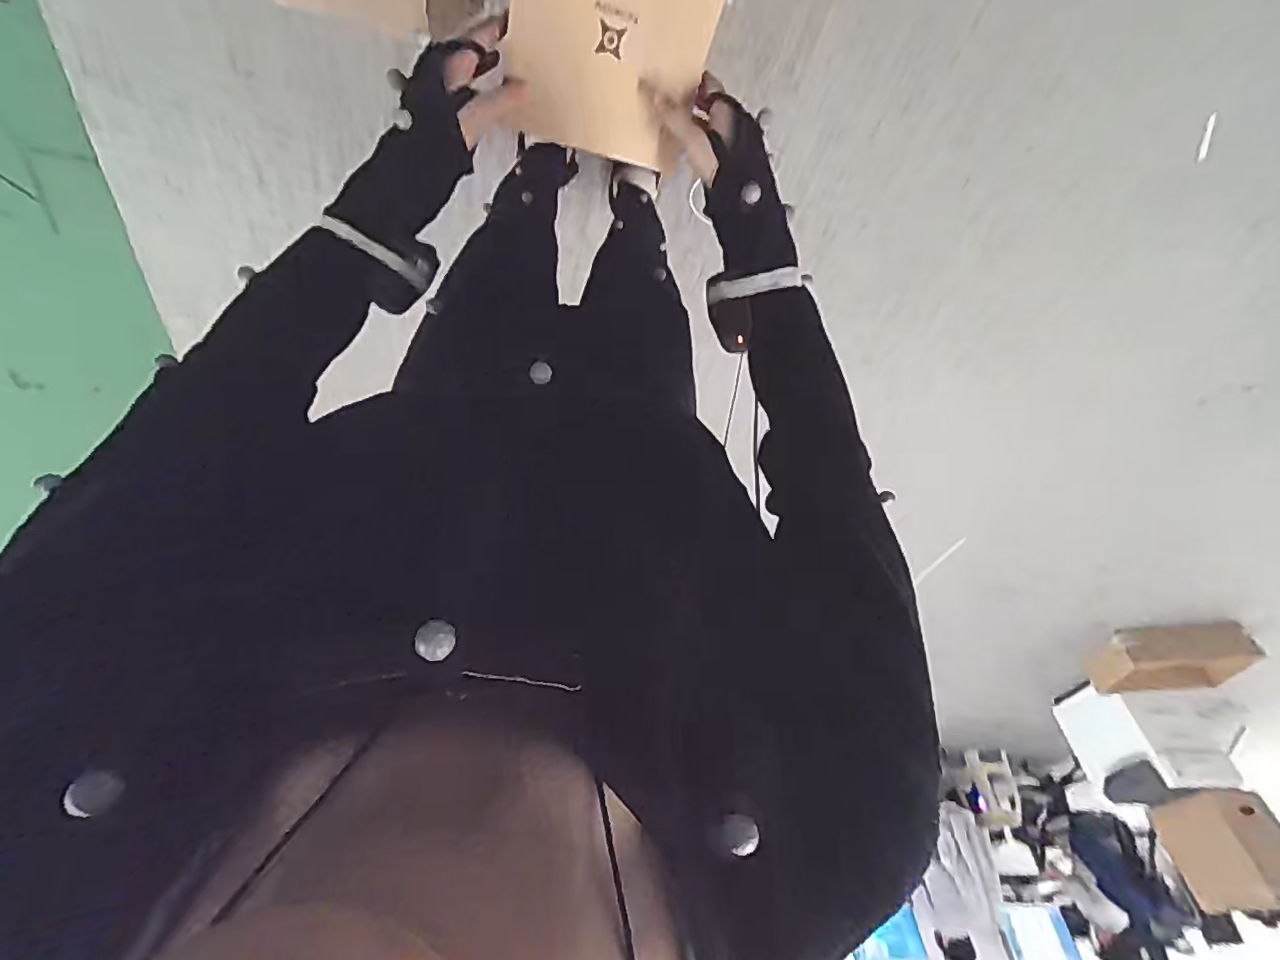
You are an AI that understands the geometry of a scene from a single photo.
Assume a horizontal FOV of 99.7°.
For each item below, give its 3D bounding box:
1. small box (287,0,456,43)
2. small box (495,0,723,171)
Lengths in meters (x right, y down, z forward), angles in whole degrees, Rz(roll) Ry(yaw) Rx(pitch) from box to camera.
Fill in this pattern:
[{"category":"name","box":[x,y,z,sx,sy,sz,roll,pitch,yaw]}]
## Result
[{"category":"small box","box":[-0.315,-0.647,0.628,0.179,0.176,0.168,10,135,-10]},{"category":"small box","box":[-0.031,-0.417,0.492,0.168,0.176,0.179,8,129,-16]}]
